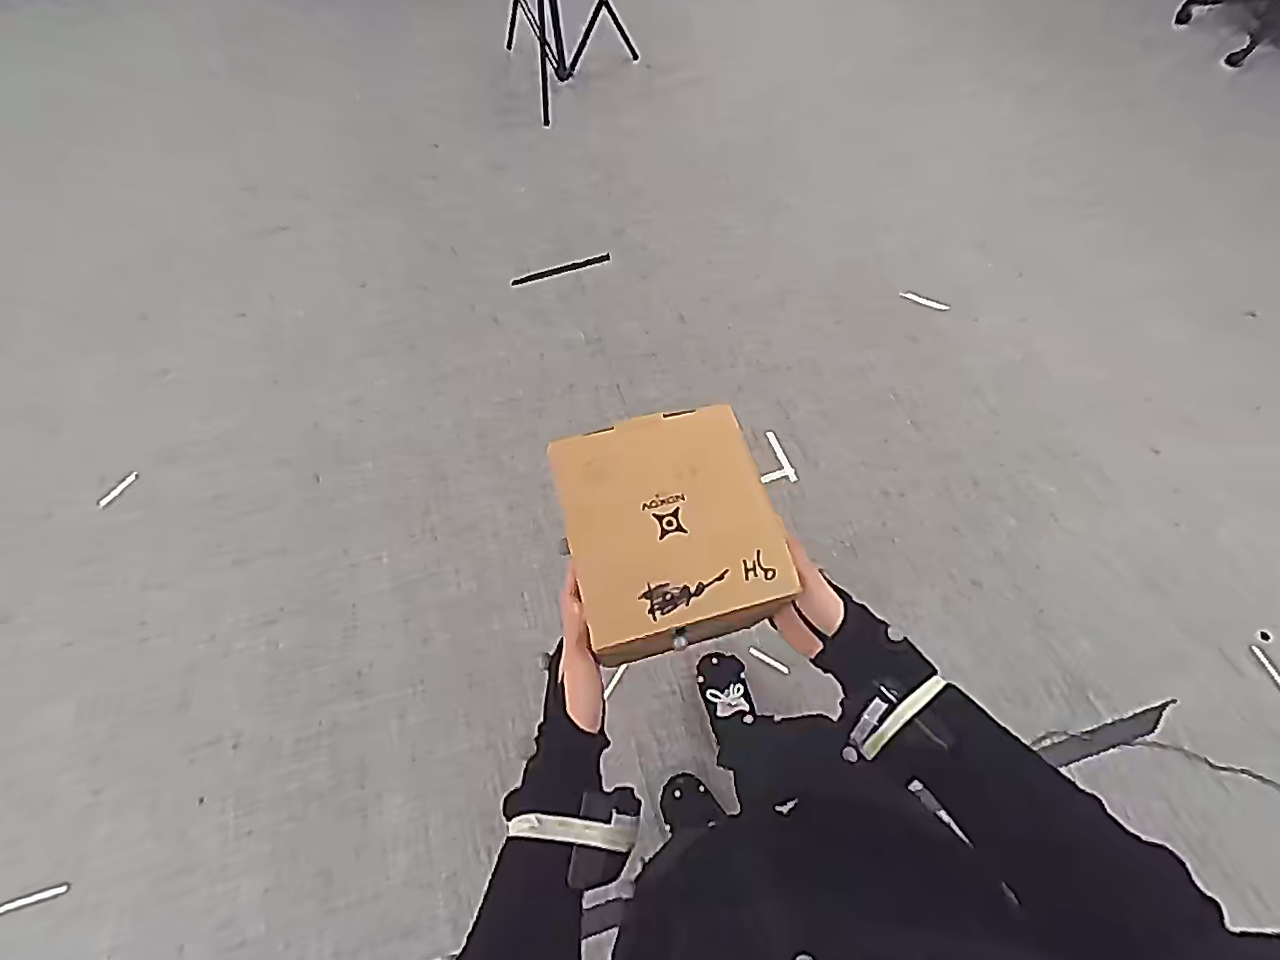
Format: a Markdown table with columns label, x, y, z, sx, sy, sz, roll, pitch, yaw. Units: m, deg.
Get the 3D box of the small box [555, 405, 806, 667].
| label | x | y | z | sx | sy | sz | roll | pitch | yaw |
| --- | --- | --- | --- | --- | --- | --- | --- | --- | --- |
| small box | 0.024 | 0.060 | 0.503 | 0.168 | 0.176 | 0.179 | -14 | 67 | -7 |
